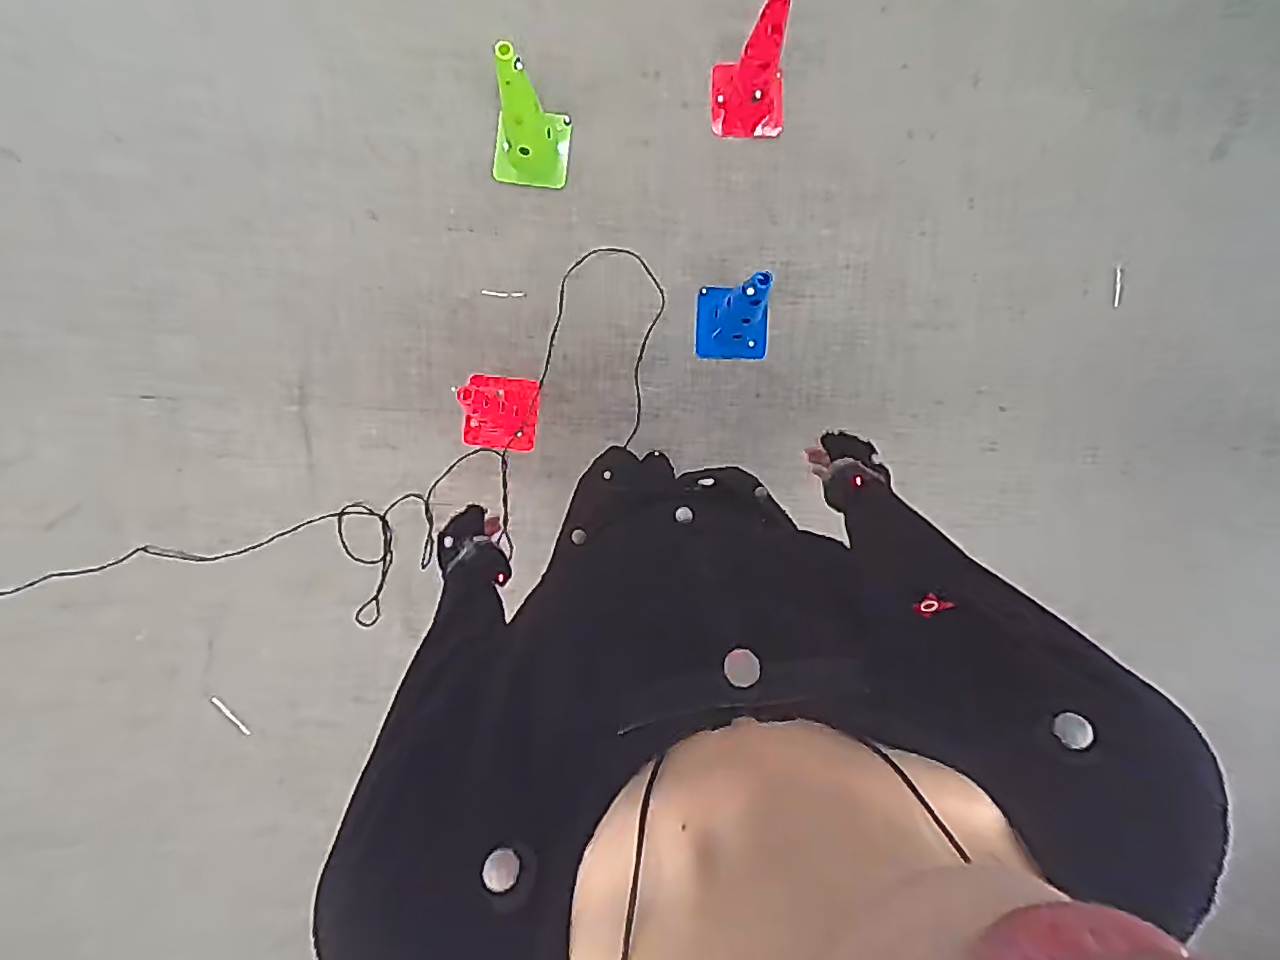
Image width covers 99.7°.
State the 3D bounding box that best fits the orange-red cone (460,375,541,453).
[{"bbox_3d":[-0.373,-0.184,1.322,0.198,0.360,0.199,7,89,-3],"label":"orange-red cone"}]

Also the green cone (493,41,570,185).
[{"bbox_3d":[-0.295,-0.912,1.311,0.200,0.368,0.202,5,92,-1],"label":"green cone"}]
